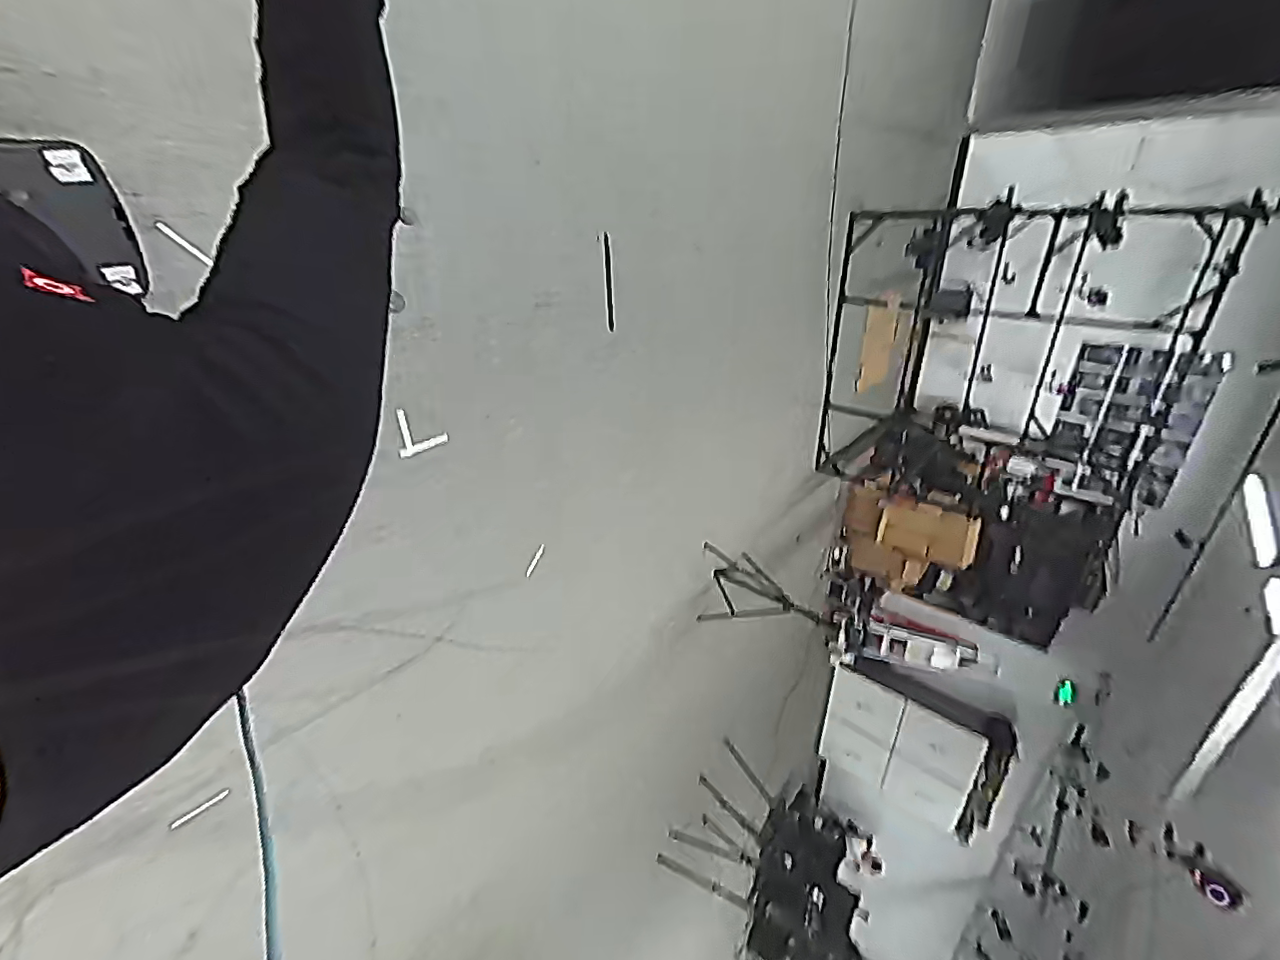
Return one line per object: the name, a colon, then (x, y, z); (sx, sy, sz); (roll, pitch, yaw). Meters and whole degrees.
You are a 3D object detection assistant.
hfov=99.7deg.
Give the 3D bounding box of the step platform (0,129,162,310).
step platform: (-1.257, -0.421, 0.899); (0.684, 0.204, 0.286); (-31, 129, -41)
